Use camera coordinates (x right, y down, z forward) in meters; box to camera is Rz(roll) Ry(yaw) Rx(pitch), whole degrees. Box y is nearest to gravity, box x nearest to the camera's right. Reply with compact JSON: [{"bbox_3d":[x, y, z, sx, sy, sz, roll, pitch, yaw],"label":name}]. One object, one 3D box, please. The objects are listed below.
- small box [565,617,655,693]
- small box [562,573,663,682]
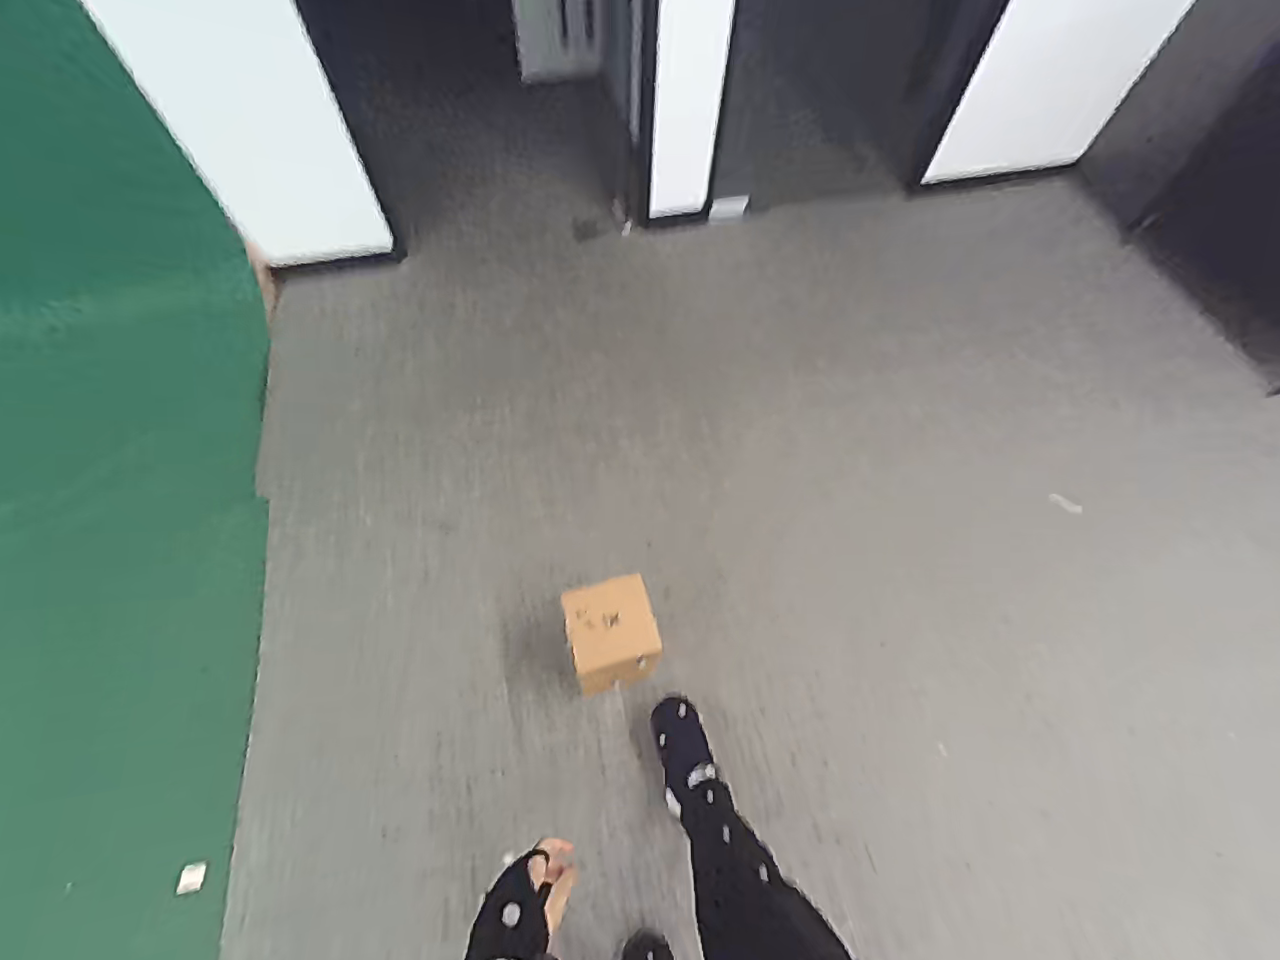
[{"bbox_3d":[-0.074,0.398,1.298,0.179,0.176,0.168,-14,63,-9],"label":"small box"},{"bbox_3d":[-0.062,0.319,1.154,0.179,0.176,0.168,-13,62,-9],"label":"small box"}]
